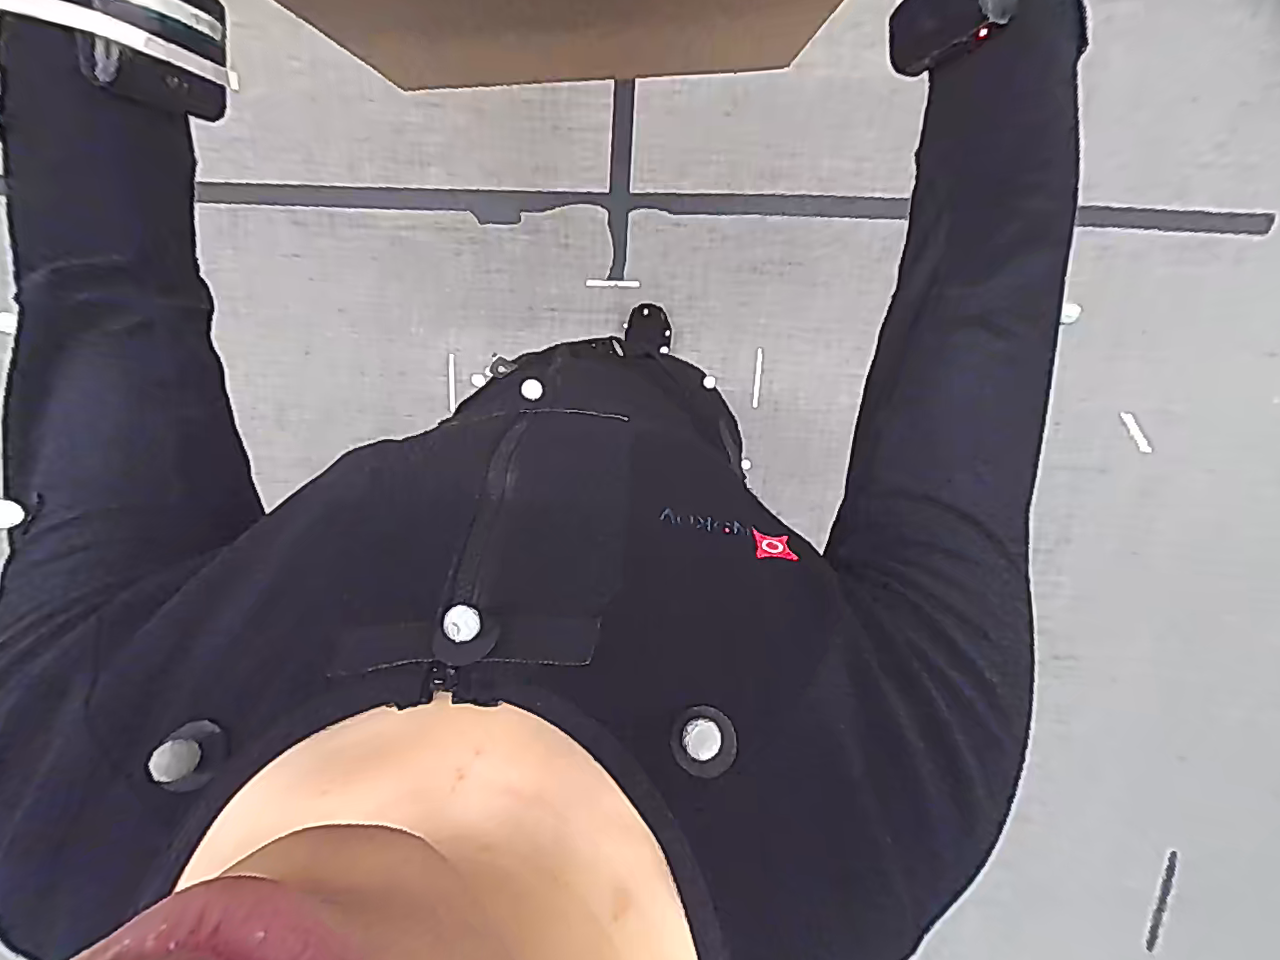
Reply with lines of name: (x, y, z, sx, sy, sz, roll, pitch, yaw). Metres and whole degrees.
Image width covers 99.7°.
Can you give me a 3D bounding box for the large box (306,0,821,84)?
large box: (-0.055, -0.506, 0.361, 0.408, 0.320, 0.320, -4, 113, 1)
